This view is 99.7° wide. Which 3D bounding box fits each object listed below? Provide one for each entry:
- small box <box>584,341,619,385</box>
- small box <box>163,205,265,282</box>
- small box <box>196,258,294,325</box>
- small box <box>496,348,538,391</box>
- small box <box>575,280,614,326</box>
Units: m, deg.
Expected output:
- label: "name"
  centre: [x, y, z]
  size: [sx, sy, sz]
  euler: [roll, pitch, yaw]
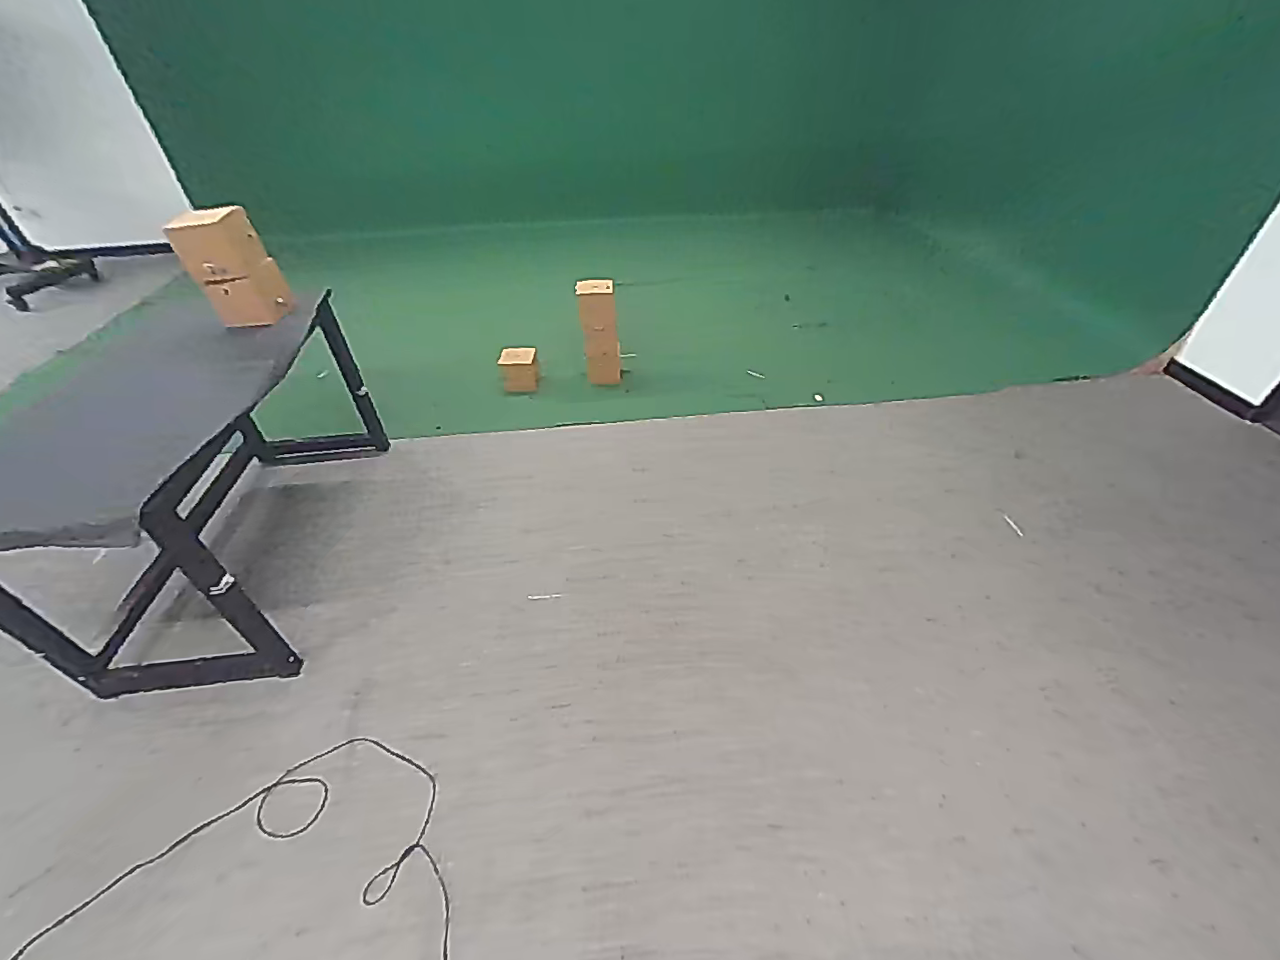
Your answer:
- label: "small box"
  centre: [-0.200, -0.622, 2.880]
  size: [0.179, 0.176, 0.168]
  euler: [-2, 42, 0]
- label: "small box"
  centre: [-1.336, -0.750, 1.715]
  size: [0.168, 0.176, 0.179]
  euler: [-9, 43, -3]
- label: "small box"
  centre: [-1.327, -0.636, 1.831]
  size: [0.179, 0.176, 0.168]
  euler: [-2, 42, 2]
- label: "small box"
  centre: [-0.640, -0.580, 2.847]
  size: [0.179, 0.176, 0.168]
  euler: [-1, 41, 2]
- label: "small box"
  centre: [-0.221, -0.869, 2.663]
  size: [0.179, 0.176, 0.168]
  euler: [-4, 41, 0]
